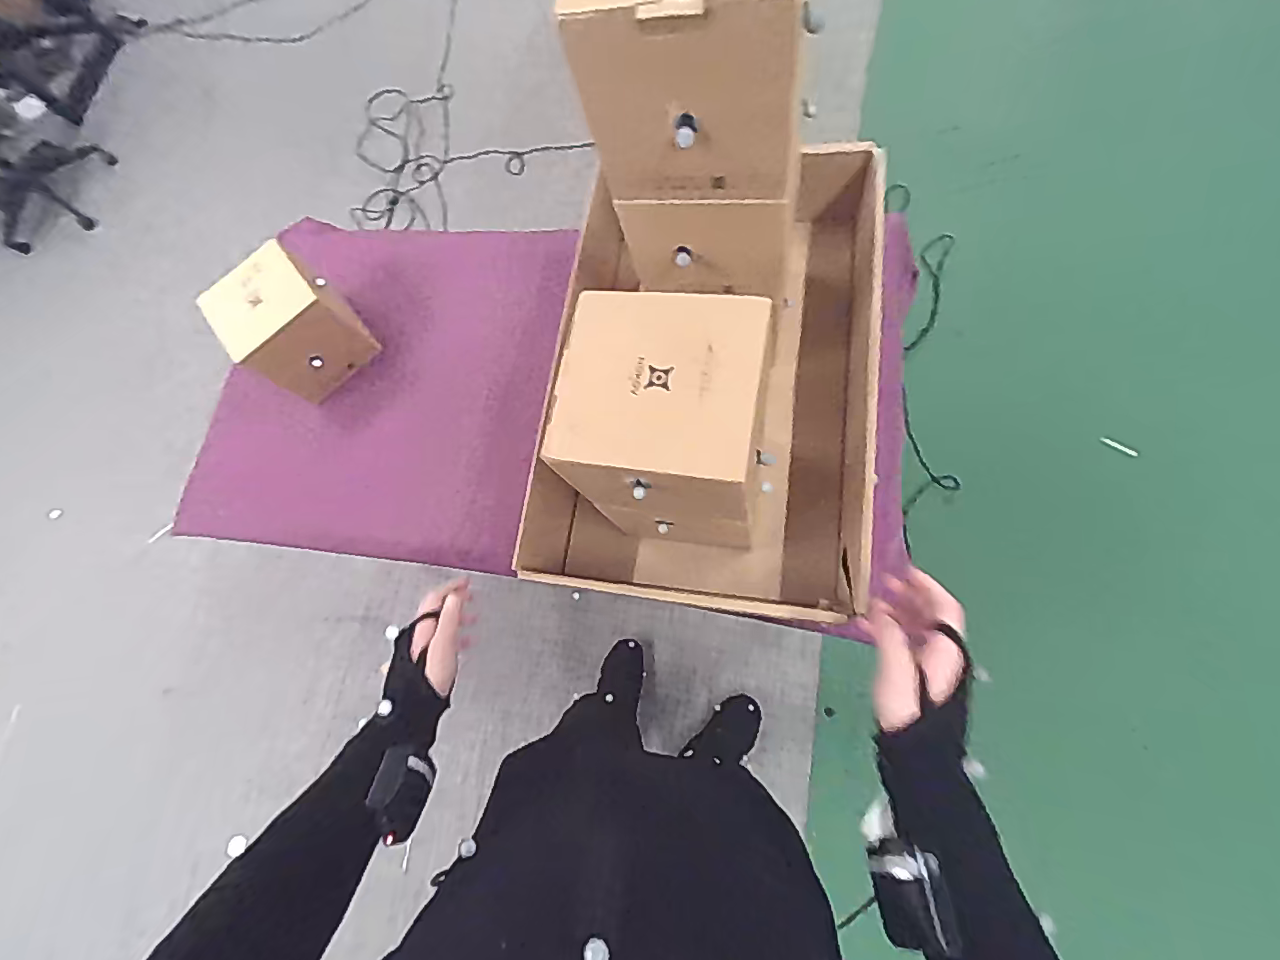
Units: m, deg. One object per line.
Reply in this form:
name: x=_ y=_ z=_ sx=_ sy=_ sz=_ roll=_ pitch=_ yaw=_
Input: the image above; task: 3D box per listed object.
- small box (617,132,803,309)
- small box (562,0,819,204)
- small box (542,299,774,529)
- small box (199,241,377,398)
small box: x=0.087 y=-0.309 z=0.599 sx=0.168 sy=0.176 sz=0.179 roll=7 pitch=76 yaw=14
small box: x=0.055 y=-0.355 z=0.444 sx=0.168 sy=0.176 sz=0.179 roll=8 pitch=77 yaw=14
small box: x=0.031 y=-0.056 z=0.532 sx=0.179 sy=0.176 sz=0.168 roll=8 pitch=75 yaw=15
small box: x=-0.605 y=-0.267 z=0.950 sx=0.168 sy=0.176 sz=0.179 roll=-40 pitch=70 yaw=-3
